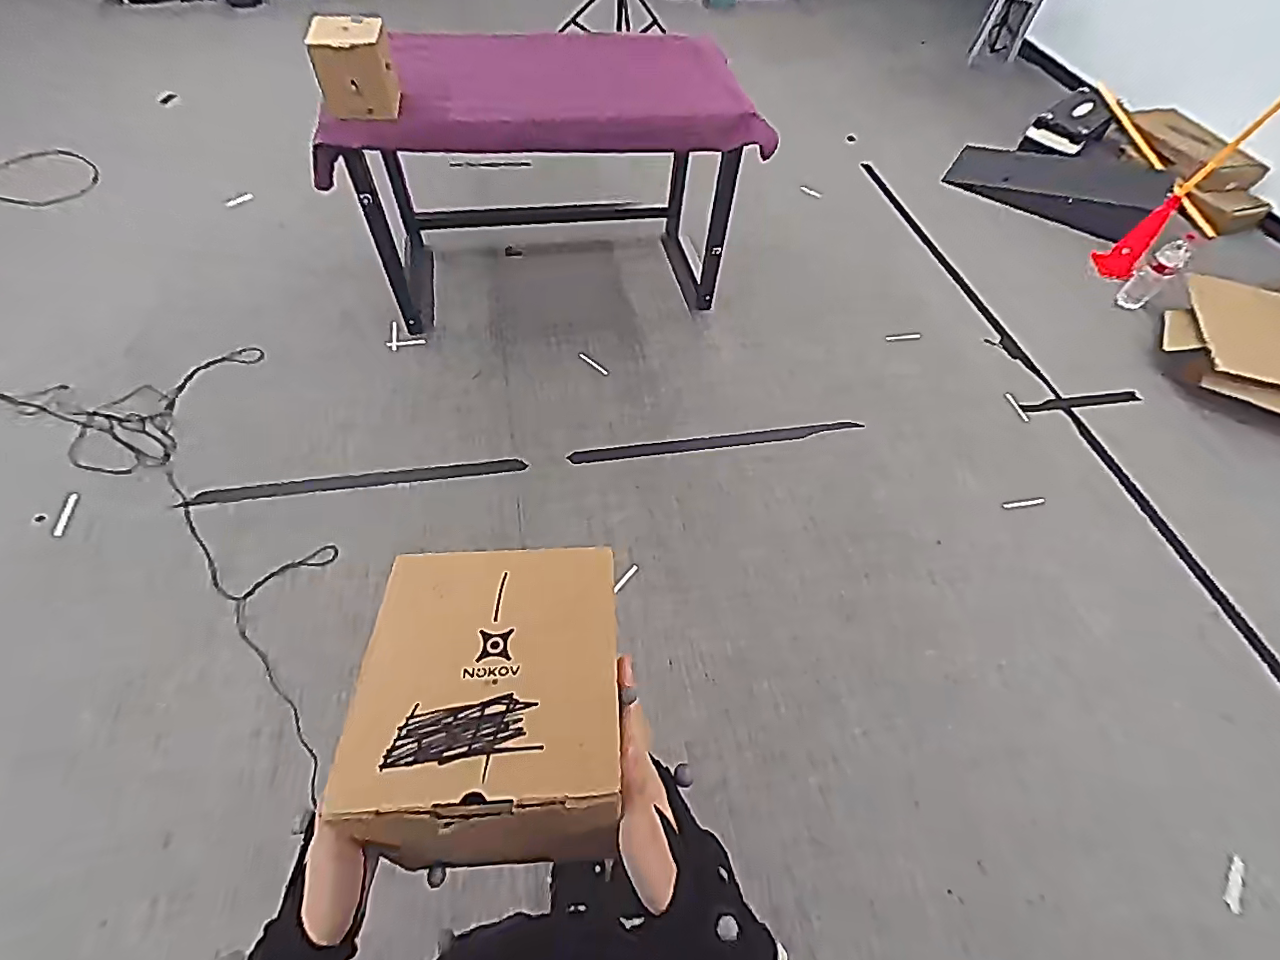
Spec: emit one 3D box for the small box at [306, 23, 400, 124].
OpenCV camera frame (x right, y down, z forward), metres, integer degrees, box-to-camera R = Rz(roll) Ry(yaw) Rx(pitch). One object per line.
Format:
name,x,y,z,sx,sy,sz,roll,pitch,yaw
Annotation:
small box,-0.741,-1.060,1.414,0.168,0.176,0.179,-6,58,-9

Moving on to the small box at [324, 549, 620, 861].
small box,-0.100,0.174,0.416,0.168,0.176,0.179,-1,44,-4
